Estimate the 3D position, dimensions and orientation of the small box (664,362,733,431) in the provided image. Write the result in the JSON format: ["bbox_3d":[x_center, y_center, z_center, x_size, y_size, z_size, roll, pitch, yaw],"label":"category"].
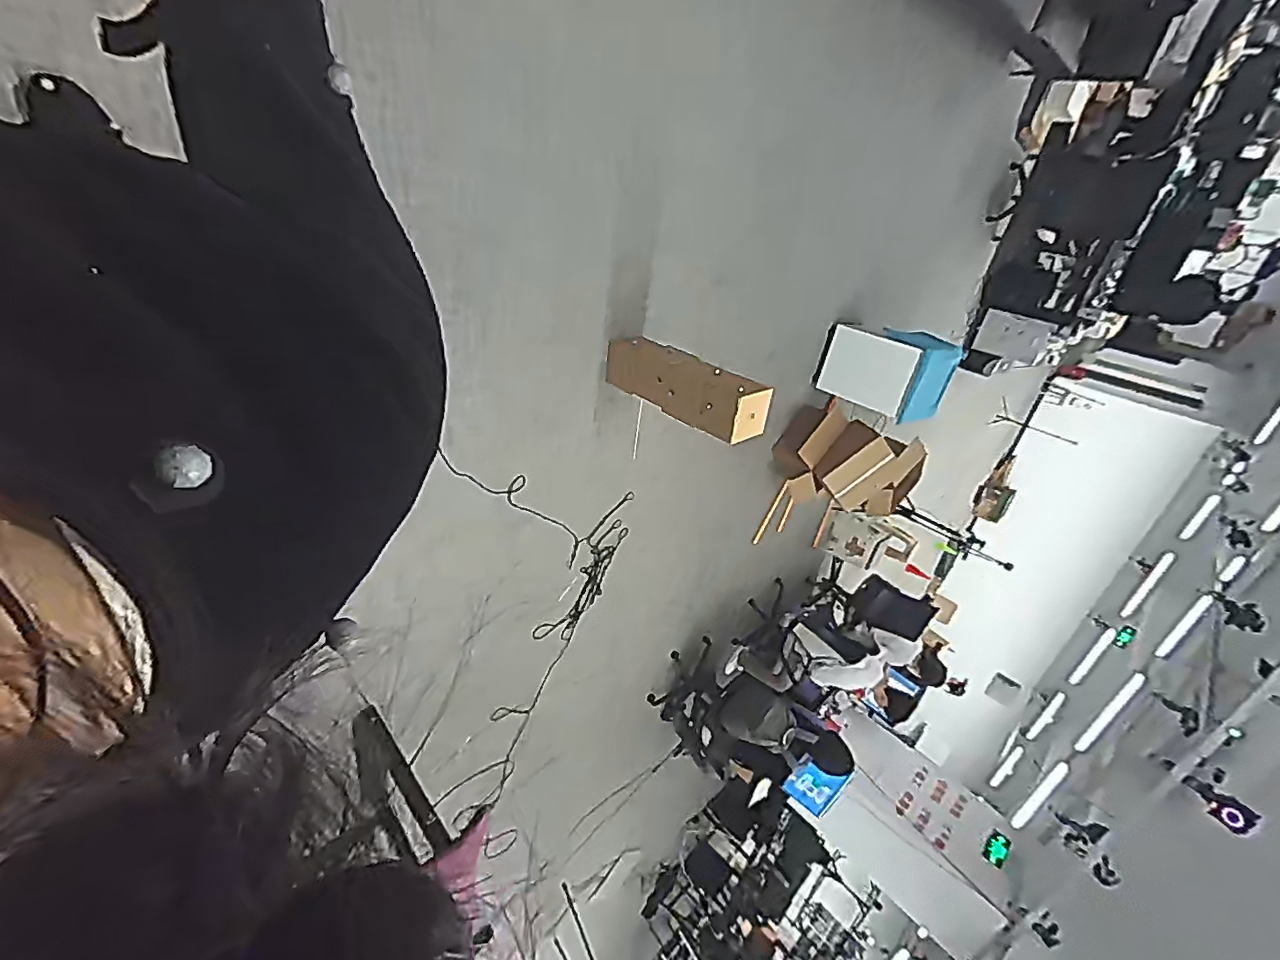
[{"bbox_3d":[0.202,-0.297,1.893,0.168,0.176,0.179,-21,130,-39],"label":"small box"}]

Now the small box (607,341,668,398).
[{"bbox_3d":[-0.011,-0.437,2.100,0.168,0.176,0.179,-19,129,-40],"label":"small box"}]

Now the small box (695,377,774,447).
[{"bbox_3d":[0.311,-0.232,1.791,0.179,0.176,0.168,-20,129,-38],"label":"small box"}]

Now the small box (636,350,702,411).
[{"bbox_3d":[0.102,-0.375,1.998,0.168,0.176,0.179,-18,128,-39],"label":"small box"}]
